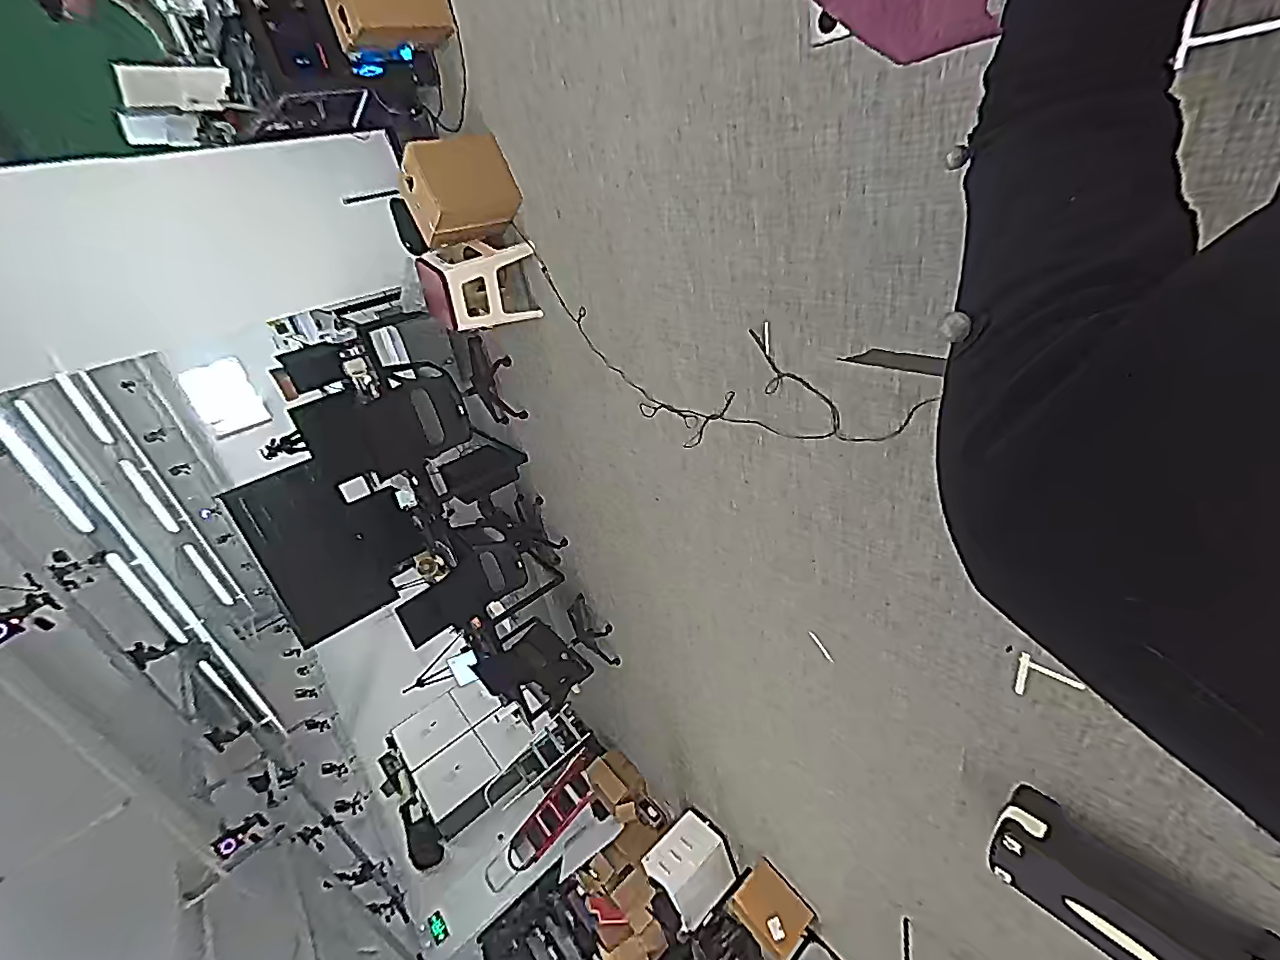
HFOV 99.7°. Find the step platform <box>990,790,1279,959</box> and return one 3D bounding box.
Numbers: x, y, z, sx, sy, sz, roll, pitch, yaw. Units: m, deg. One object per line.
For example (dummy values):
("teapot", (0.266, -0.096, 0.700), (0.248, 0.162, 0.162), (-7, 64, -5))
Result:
("step platform", (1.440, 1.279, 1.601), (0.684, 0.204, 0.286), (23, 135, 45))
